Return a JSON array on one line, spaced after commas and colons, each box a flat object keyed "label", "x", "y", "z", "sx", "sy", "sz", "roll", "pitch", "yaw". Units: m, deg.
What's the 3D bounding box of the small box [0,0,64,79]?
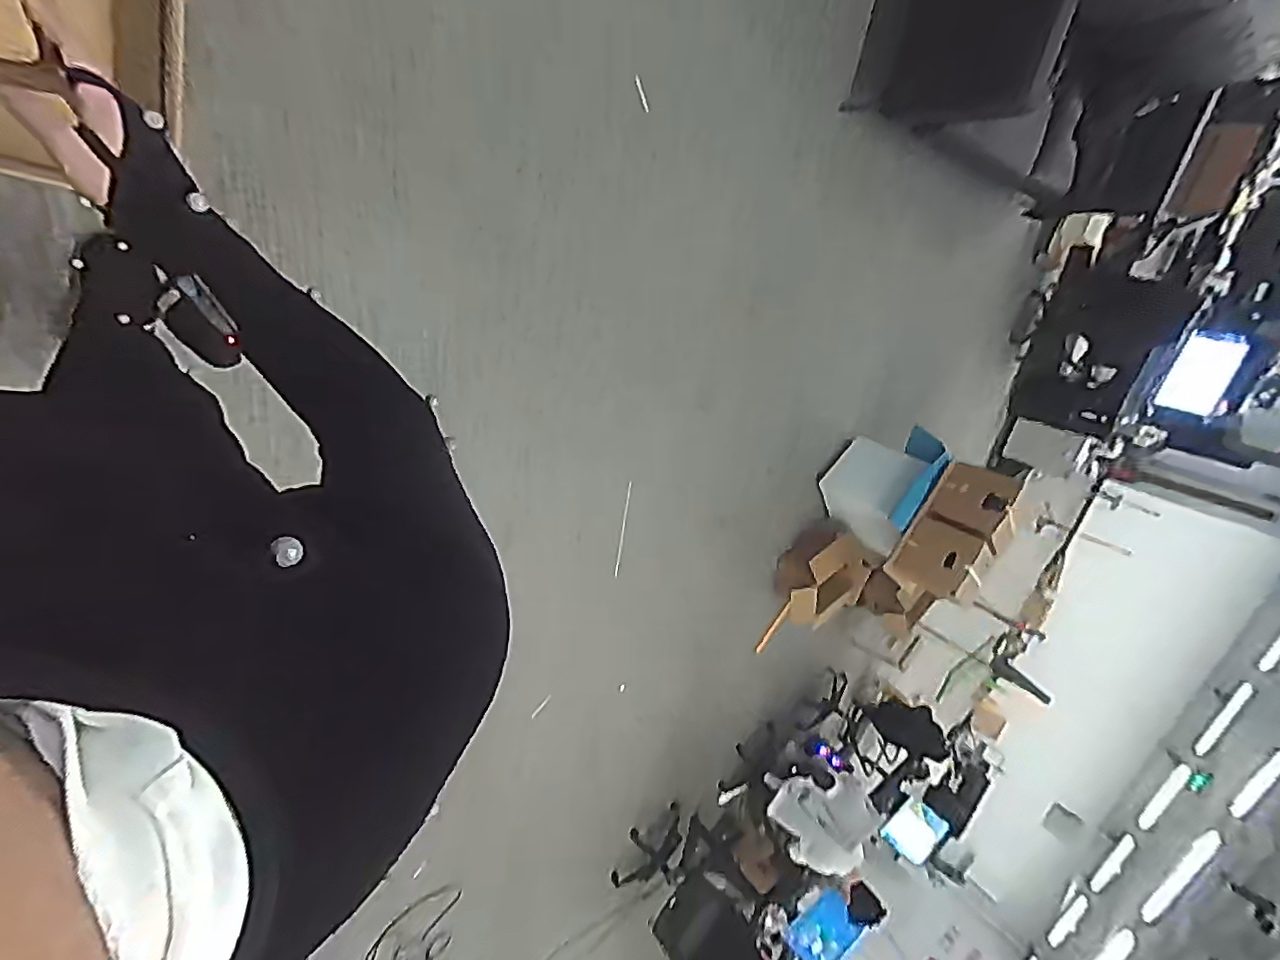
[{"label": "small box", "x": -0.565, "y": -0.422, "z": 0.390, "sx": 0.168, "sy": 0.176, "sz": 0.179, "roll": -9, "pitch": 117, "yaw": -35}]
